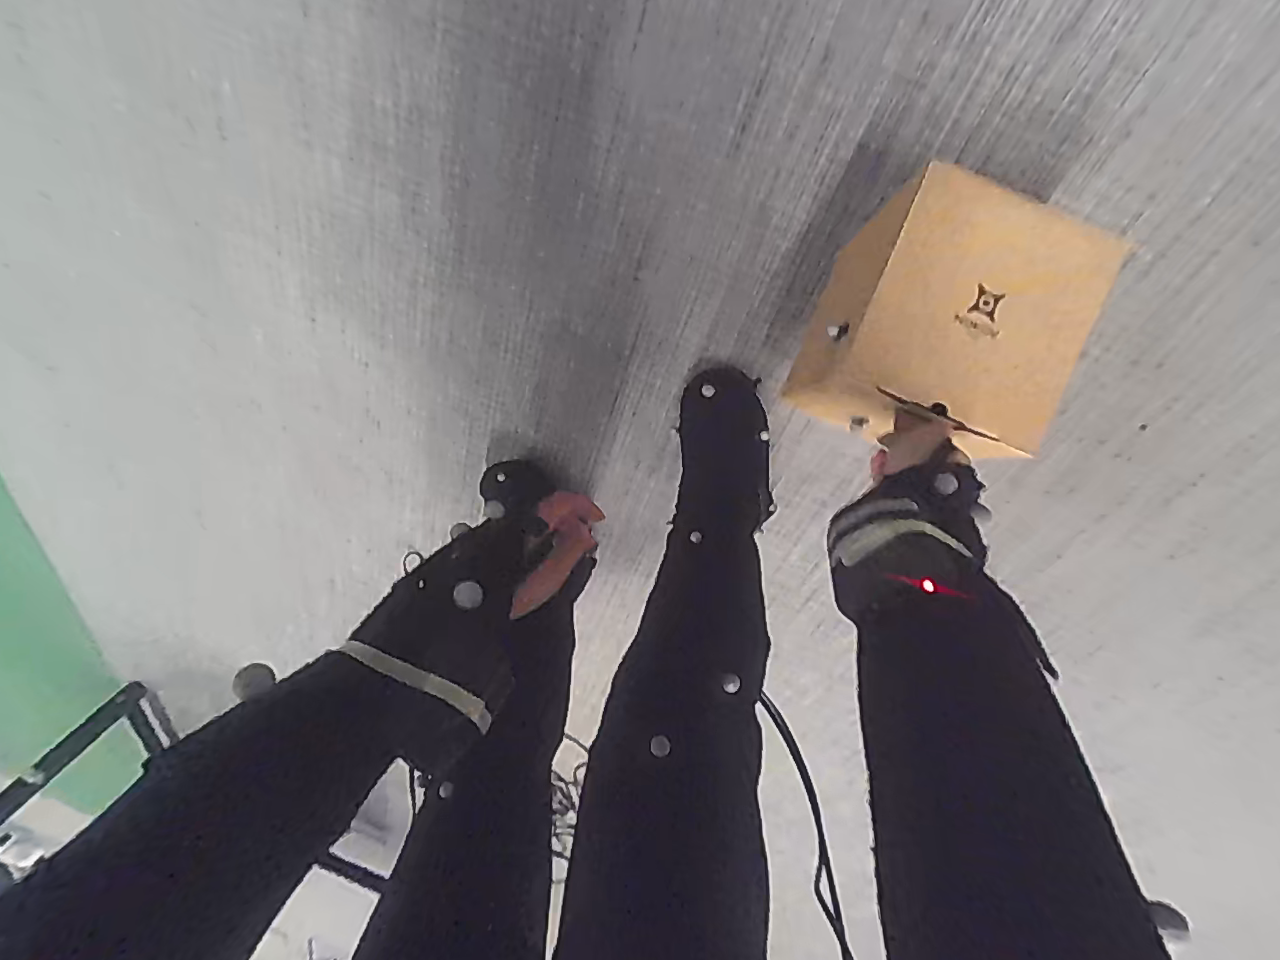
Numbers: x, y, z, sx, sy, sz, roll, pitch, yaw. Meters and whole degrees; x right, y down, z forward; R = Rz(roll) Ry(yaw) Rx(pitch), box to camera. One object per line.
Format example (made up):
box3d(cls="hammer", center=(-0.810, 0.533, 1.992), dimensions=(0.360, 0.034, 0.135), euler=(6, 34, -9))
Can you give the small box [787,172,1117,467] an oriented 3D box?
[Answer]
box3d(cls="small box", center=(0.255, -0.122, 0.487), dimensions=(0.168, 0.176, 0.179), euler=(22, 89, -2))
